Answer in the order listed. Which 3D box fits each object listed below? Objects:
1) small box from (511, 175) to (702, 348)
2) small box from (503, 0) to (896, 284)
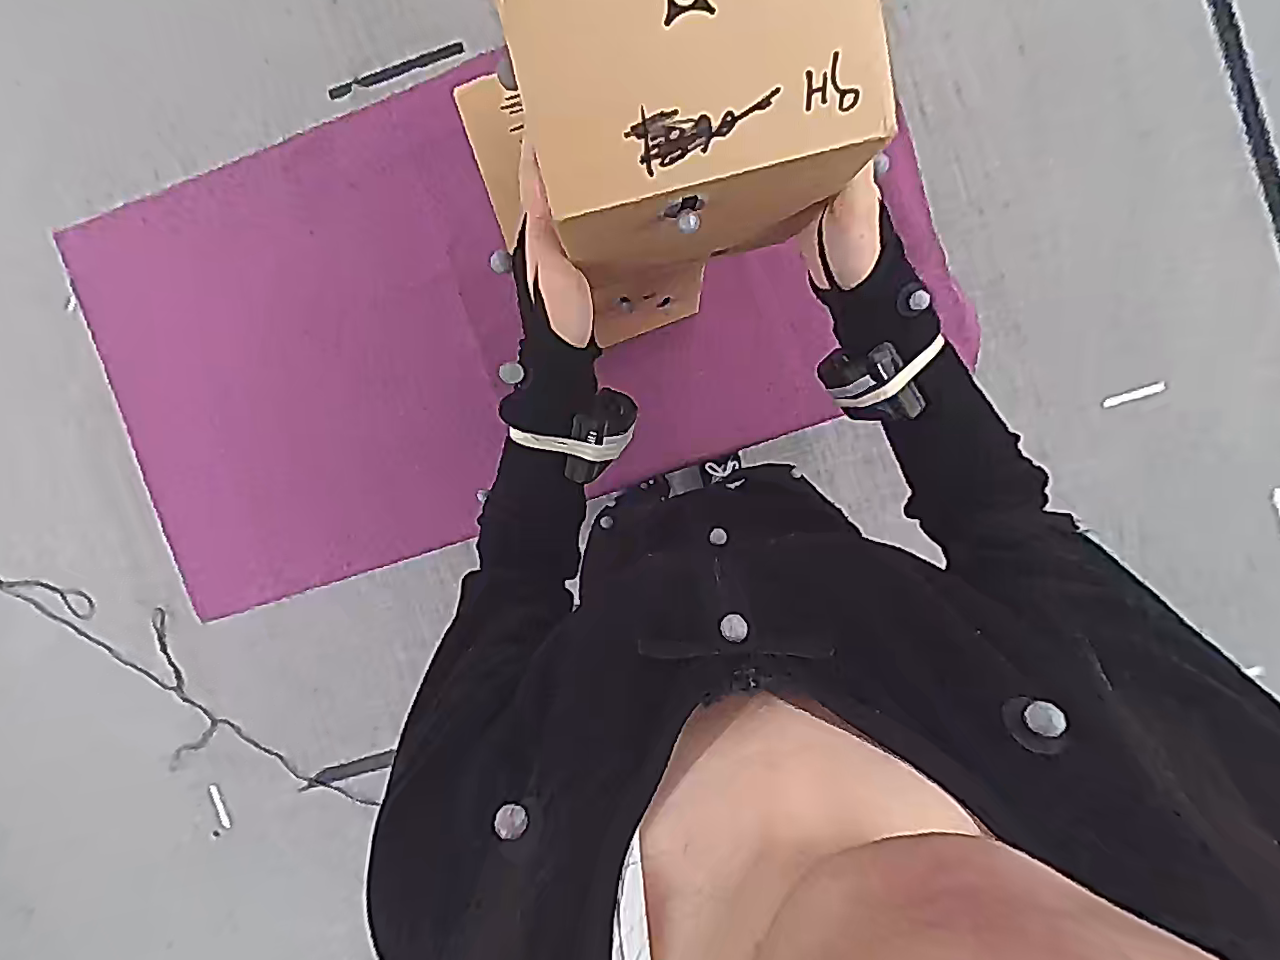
[{"bbox_3d":[-0.033,-0.282,0.677,0.179,0.176,0.168,-20,92,6],"label":"small box"},{"bbox_3d":[0.017,-0.236,0.314,0.168,0.176,0.179,-13,98,1],"label":"small box"}]
